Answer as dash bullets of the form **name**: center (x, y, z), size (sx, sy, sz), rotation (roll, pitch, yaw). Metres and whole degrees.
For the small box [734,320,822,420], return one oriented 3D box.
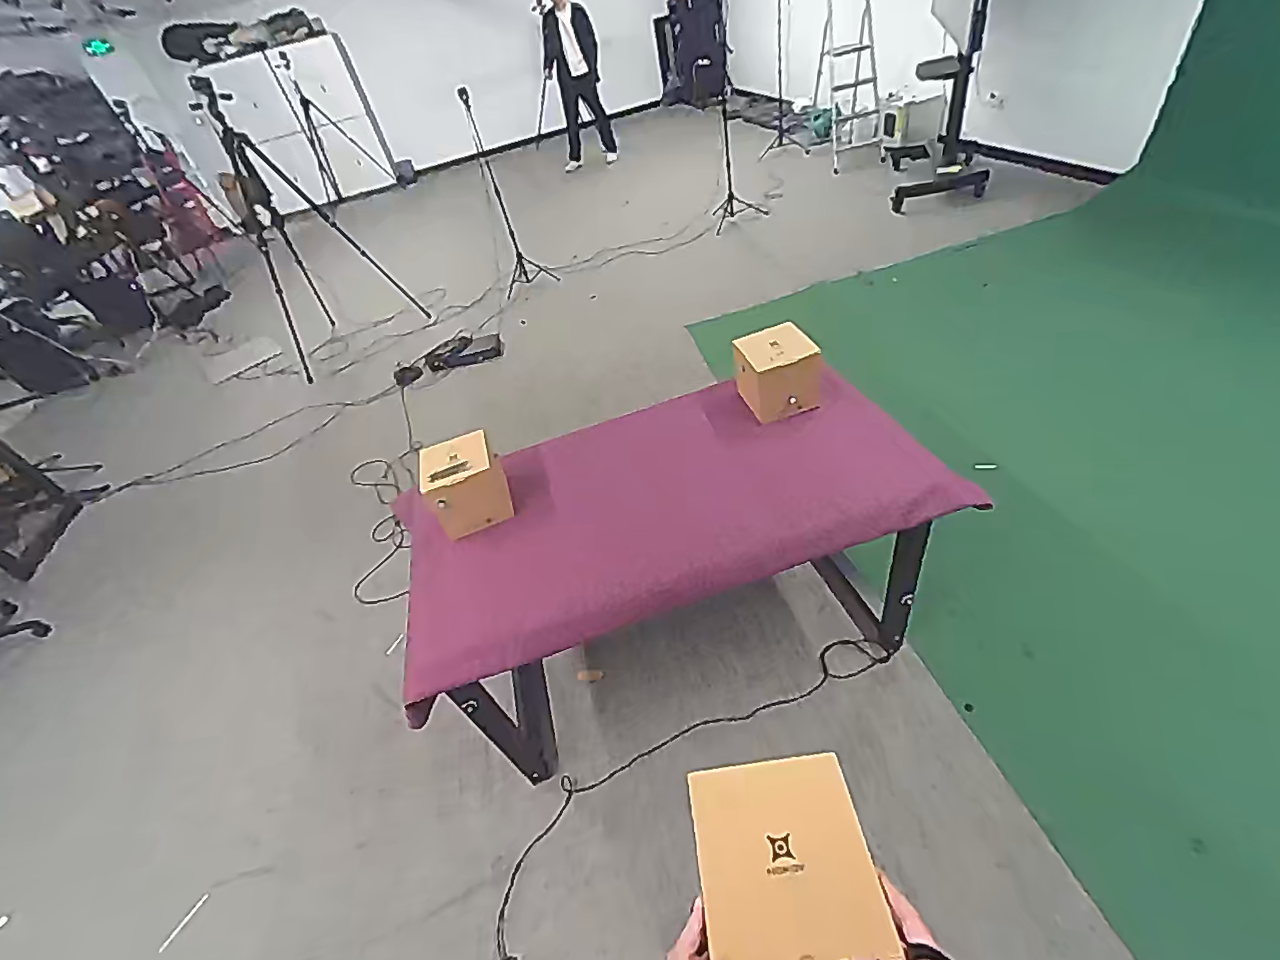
- **small box**: center (0.356, -0.286, 1.409), size (0.168, 0.176, 0.179), rotation (-19, 43, -1)

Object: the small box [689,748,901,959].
- **small box**: center (0.147, 0.418, 0.575), size (0.168, 0.176, 0.179), rotation (-9, 39, 2)
